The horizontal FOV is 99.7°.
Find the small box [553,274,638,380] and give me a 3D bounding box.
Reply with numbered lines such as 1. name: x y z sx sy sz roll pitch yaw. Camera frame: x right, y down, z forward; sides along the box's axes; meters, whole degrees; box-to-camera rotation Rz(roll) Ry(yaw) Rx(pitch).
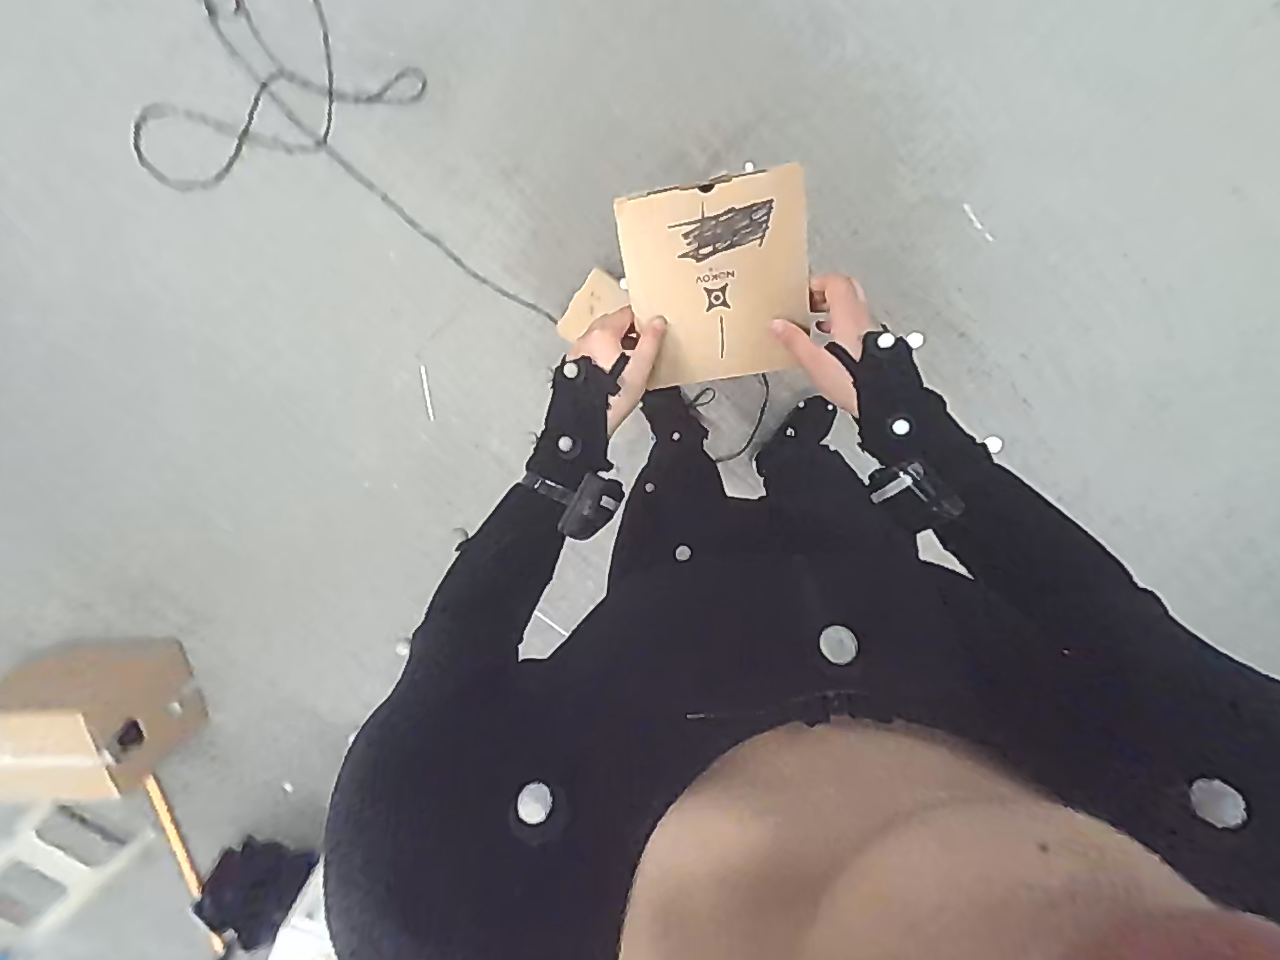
1. small box: -0.075 -0.358 1.258 0.179 0.176 0.168 34 106 -9

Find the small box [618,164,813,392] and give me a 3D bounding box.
1. small box: 0.078 -0.206 0.557 0.168 0.176 0.179 -6 116 9
